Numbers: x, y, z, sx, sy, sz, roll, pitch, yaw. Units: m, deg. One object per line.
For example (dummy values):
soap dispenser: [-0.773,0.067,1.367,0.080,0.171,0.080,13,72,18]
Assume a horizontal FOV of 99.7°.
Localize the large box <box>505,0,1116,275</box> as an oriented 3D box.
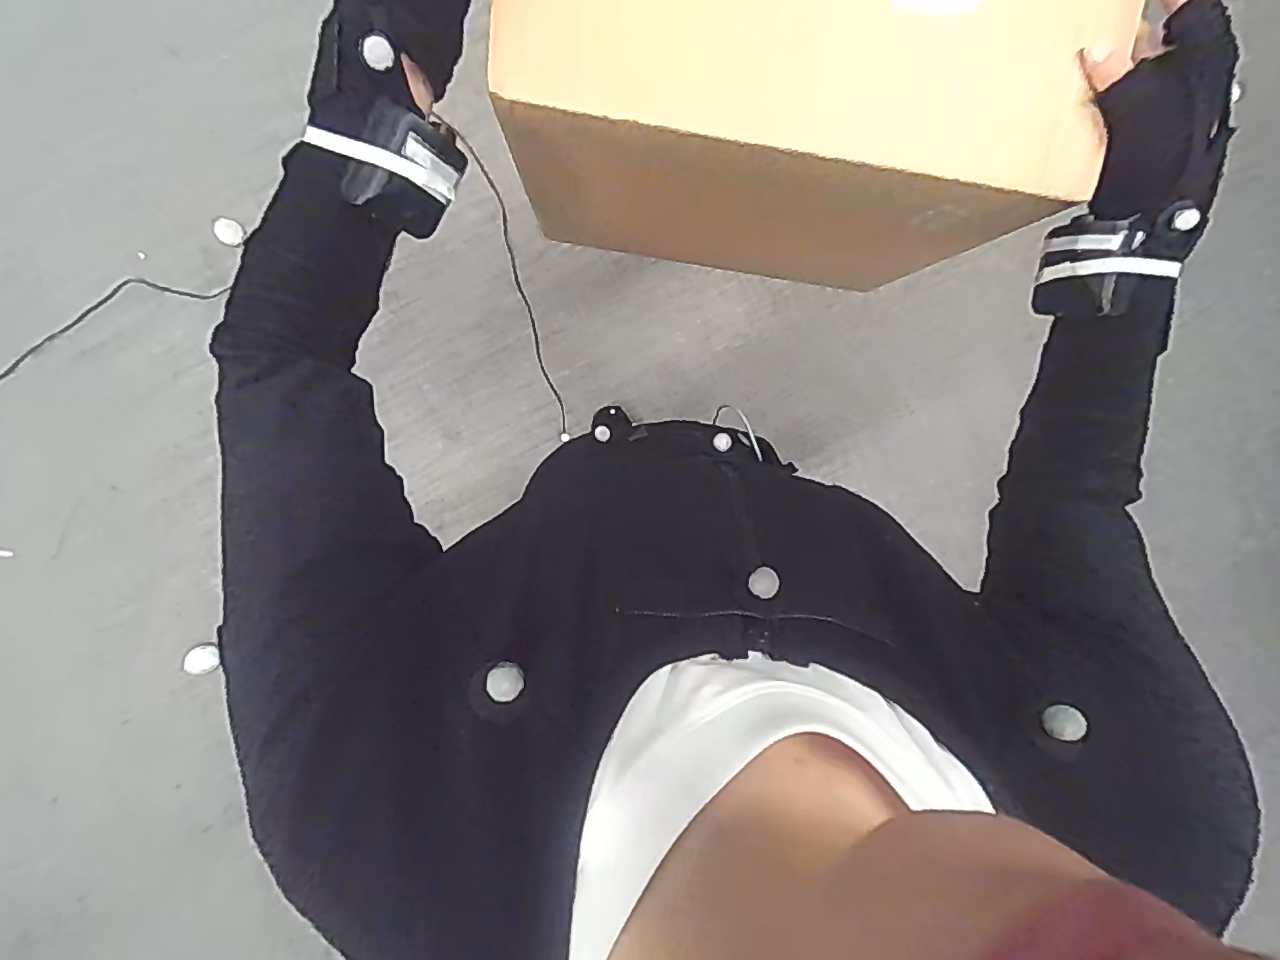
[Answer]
large box: [0.111,-0.398,0.484,0.408,0.320,0.320,6,99,-6]
